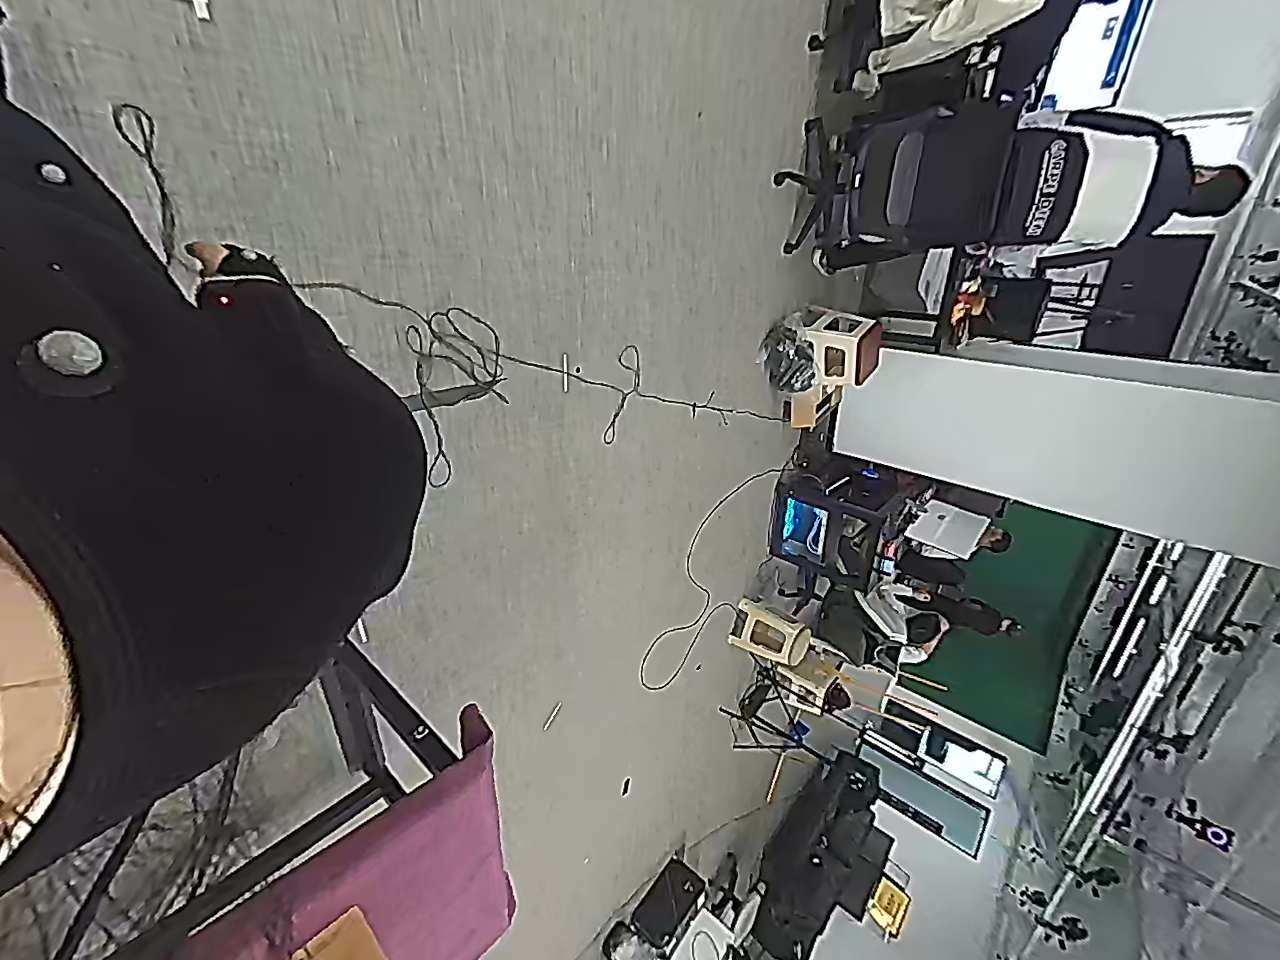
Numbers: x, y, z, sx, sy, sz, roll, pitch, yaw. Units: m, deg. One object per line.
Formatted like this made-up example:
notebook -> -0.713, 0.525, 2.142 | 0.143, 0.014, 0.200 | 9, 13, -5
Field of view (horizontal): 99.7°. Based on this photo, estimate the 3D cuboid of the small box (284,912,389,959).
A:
small box -> -0.538, 0.921, 0.951 | 0.168, 0.176, 0.179 | -23, 125, -45
